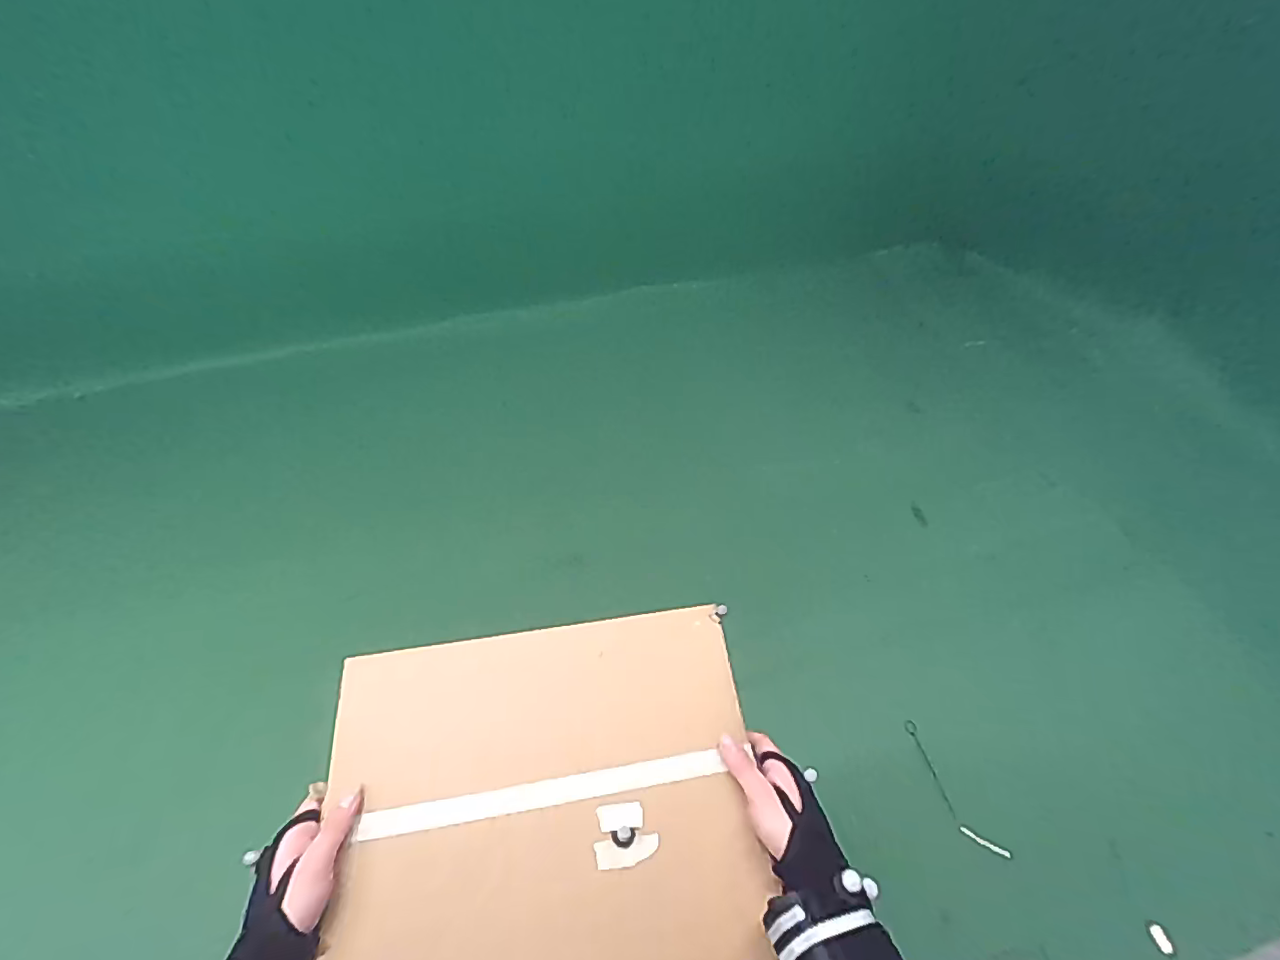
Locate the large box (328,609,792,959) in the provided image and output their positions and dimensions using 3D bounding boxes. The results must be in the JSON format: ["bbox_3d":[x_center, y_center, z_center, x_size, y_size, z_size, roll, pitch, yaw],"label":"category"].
[{"bbox_3d":[-0.092,0.382,0.653,0.408,0.320,0.320,-6,59,-8],"label":"large box"}]
